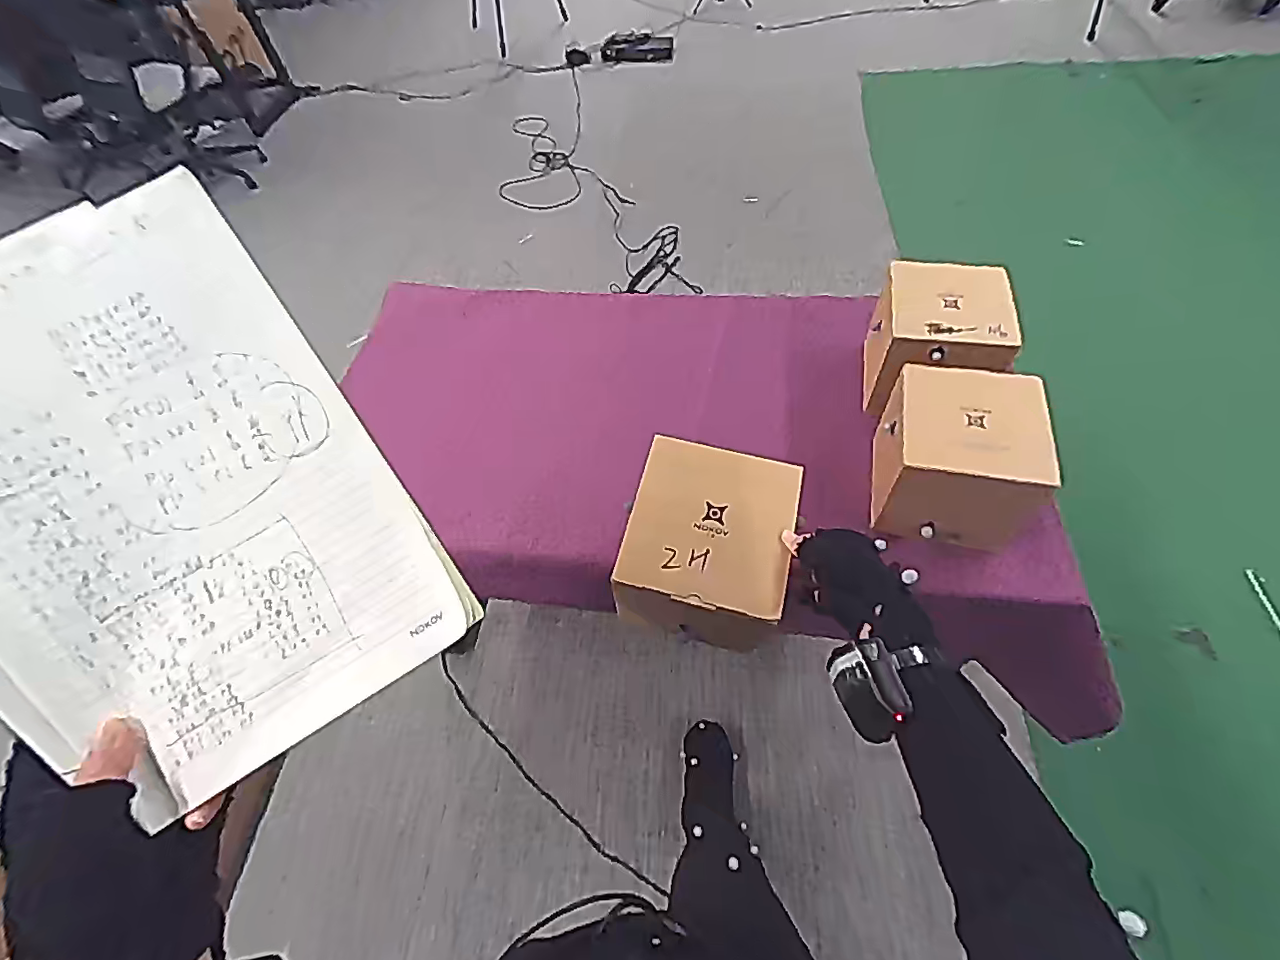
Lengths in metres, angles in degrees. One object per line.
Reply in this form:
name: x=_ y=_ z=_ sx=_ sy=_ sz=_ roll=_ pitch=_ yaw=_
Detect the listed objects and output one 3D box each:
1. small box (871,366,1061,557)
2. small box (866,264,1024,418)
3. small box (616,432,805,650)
small box: x=0.418 y=-0.023 z=0.724 sx=0.168 sy=0.176 sz=0.179 roll=10 pitch=58 yaw=14
small box: x=0.459 y=-0.208 z=0.845 sx=0.168 sy=0.176 sz=0.179 roll=8 pitch=57 yaw=12
small box: x=0.076 y=0.076 z=0.620 sx=0.168 sy=0.176 sz=0.179 roll=14 pitch=64 yaw=8
